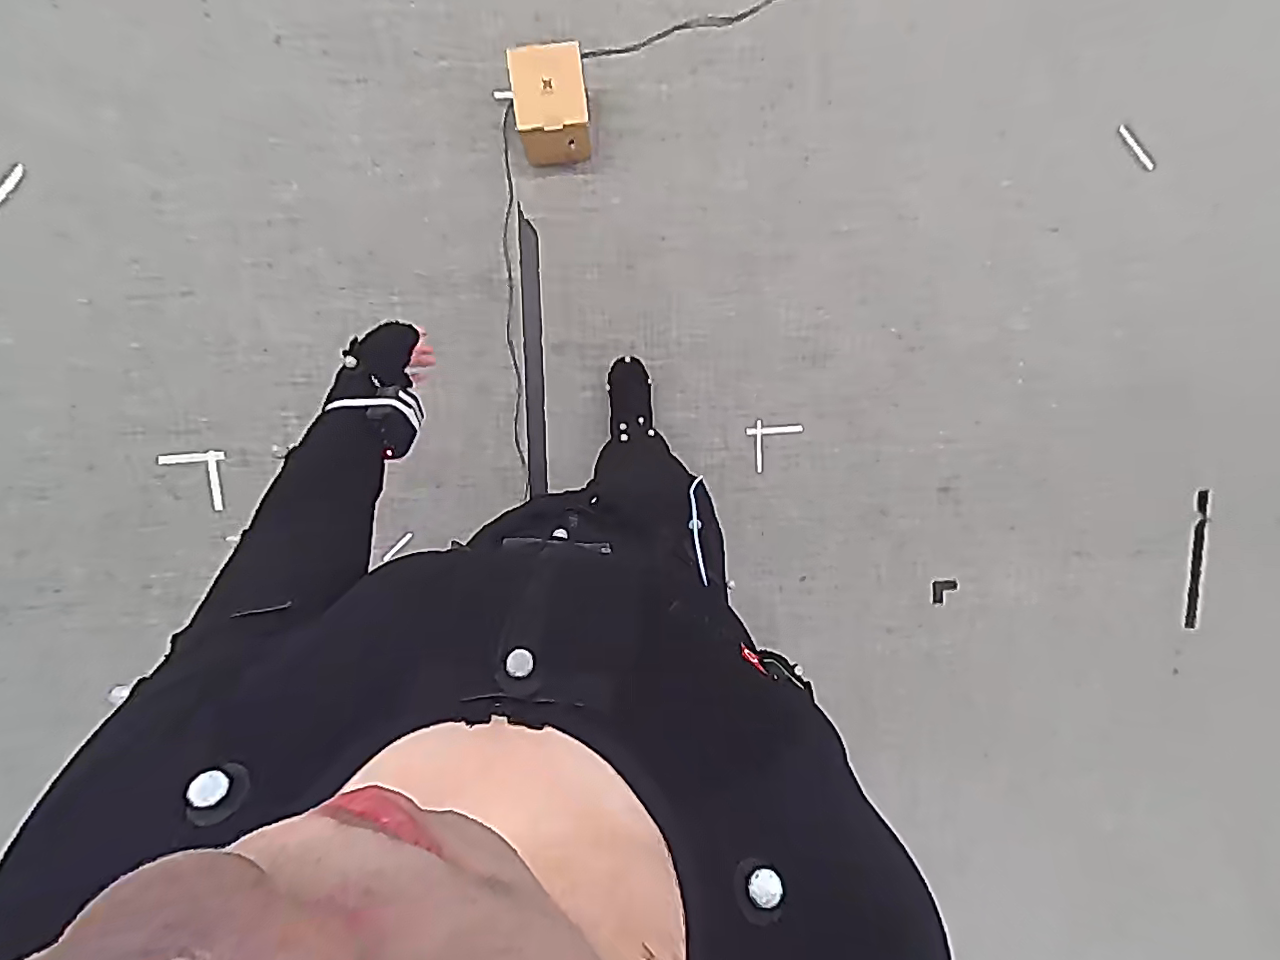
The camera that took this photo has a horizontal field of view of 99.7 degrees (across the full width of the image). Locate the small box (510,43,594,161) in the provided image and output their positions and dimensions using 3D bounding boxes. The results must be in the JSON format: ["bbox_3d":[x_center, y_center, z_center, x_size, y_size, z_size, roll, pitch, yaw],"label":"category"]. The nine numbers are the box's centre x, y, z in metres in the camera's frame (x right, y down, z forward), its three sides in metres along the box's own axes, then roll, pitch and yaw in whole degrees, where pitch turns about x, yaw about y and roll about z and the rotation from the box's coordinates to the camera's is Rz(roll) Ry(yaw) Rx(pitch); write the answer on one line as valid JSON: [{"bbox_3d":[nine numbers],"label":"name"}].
[{"bbox_3d":[-0.203,-0.893,1.298,0.168,0.176,0.179,-7,95,-1],"label":"small box"}]
